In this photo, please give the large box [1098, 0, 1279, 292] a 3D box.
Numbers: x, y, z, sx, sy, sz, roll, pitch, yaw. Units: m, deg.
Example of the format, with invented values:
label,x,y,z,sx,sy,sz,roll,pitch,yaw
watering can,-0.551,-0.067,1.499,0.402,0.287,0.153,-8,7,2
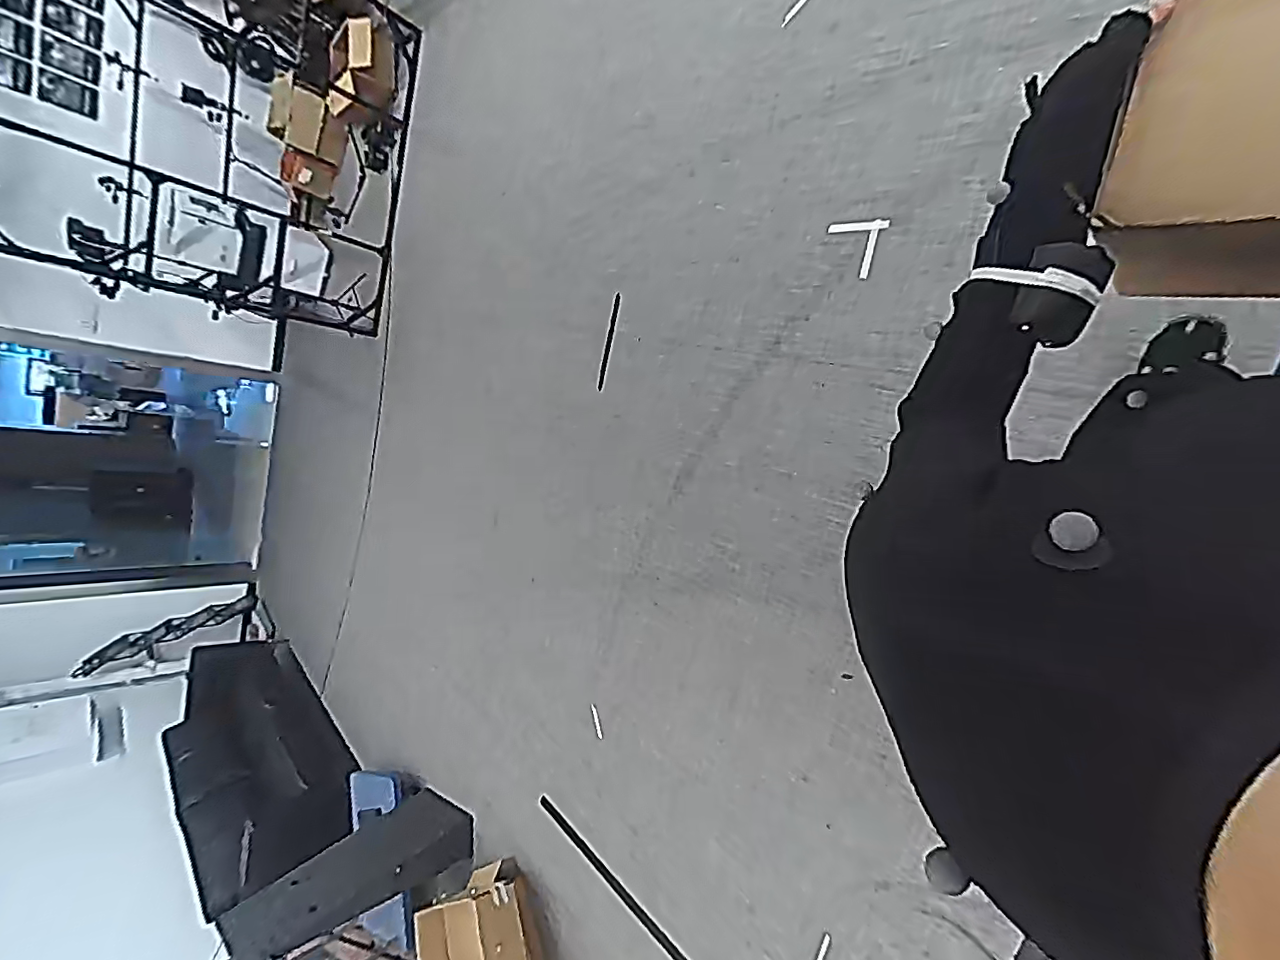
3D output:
label,x,y,z,sx,sy,sz,roll,pitch,yaw
large box,0.610,-0.316,0.363,0.408,0.320,0.320,18,107,42
